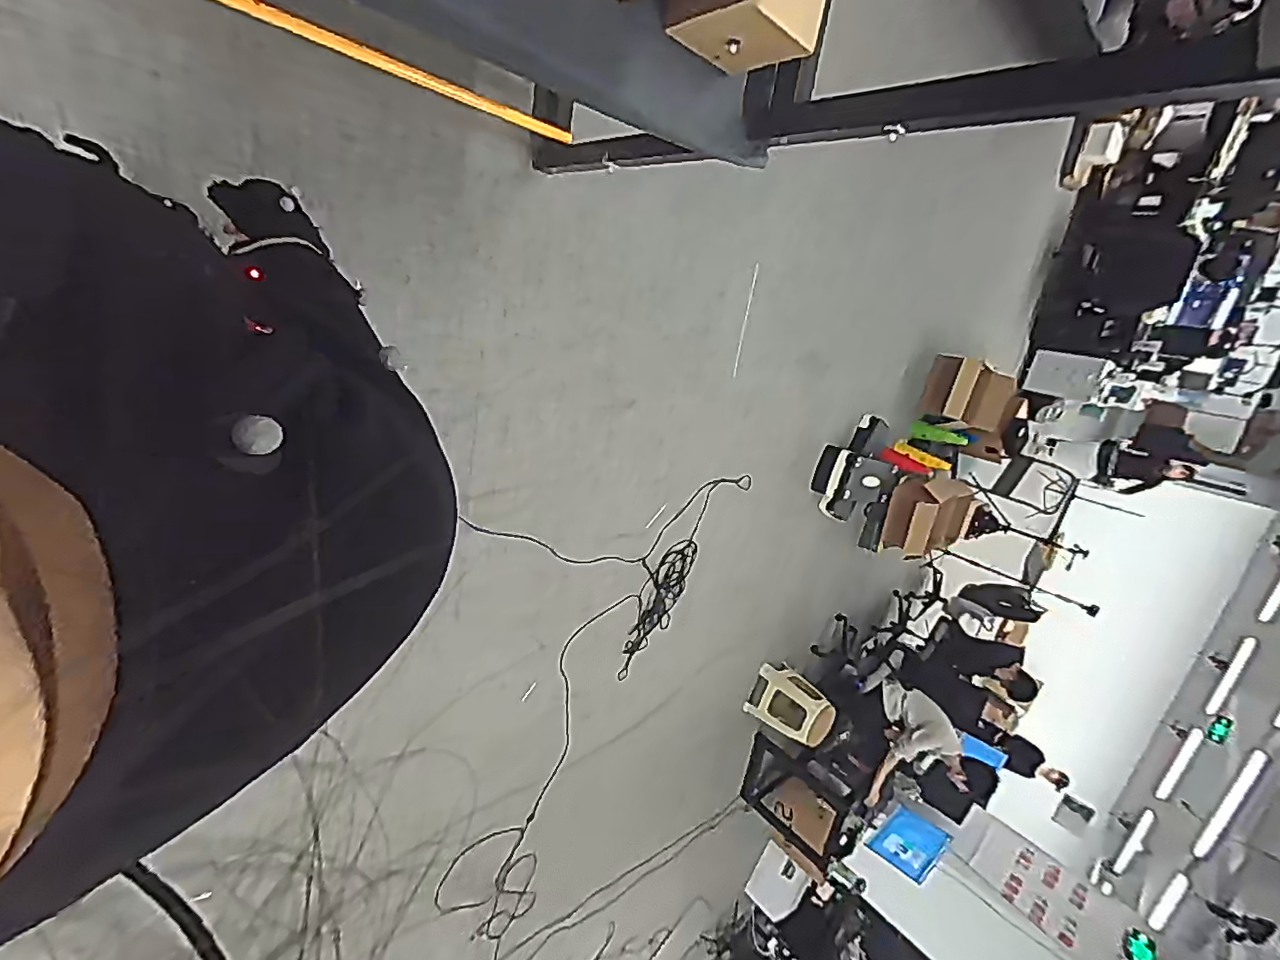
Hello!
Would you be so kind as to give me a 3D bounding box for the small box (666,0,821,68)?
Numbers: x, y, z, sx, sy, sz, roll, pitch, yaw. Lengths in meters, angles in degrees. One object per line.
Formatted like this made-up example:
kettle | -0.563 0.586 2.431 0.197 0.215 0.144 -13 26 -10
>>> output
small box | 0.158 -0.751 0.801 0.168 0.176 0.179 -7 113 -43
